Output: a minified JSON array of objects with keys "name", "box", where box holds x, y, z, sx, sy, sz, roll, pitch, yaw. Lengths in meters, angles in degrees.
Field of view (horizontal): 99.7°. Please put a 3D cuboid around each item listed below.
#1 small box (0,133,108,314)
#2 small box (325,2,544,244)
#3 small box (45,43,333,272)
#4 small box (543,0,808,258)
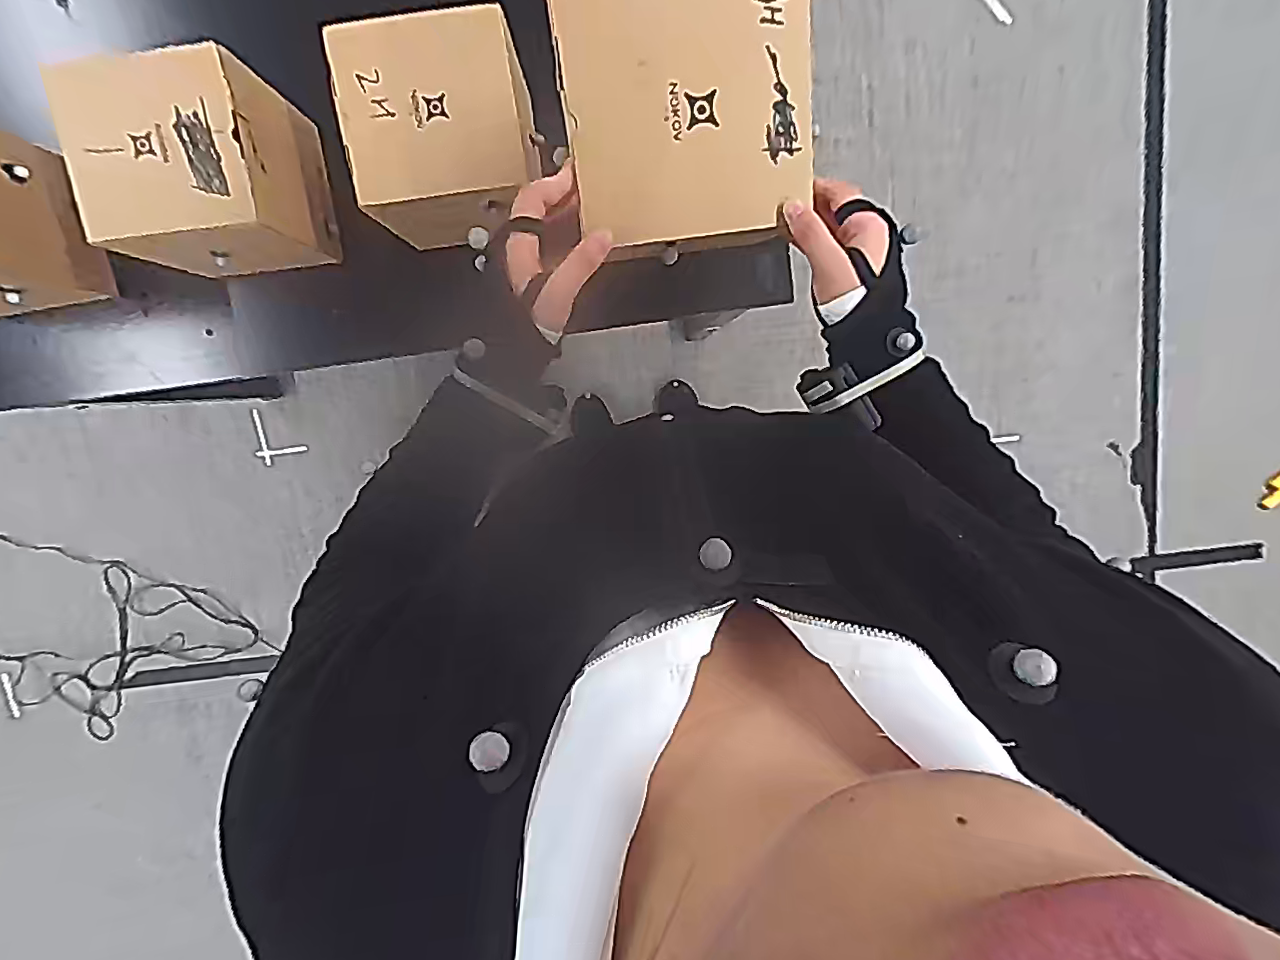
[{"name":"small box","box":[-0.768,-0.294,0.612,0.179,0.176,0.168,-10,99,1]},{"name":"small box","box":[-0.210,-0.382,0.610,0.179,0.176,0.168,-8,99,0]},{"name":"small box","box":[-0.477,-0.344,0.610,0.179,0.176,0.168,-7,99,1]},{"name":"small box","box":[0.028,-0.288,0.454,0.179,0.176,0.168,-7,109,0]}]
